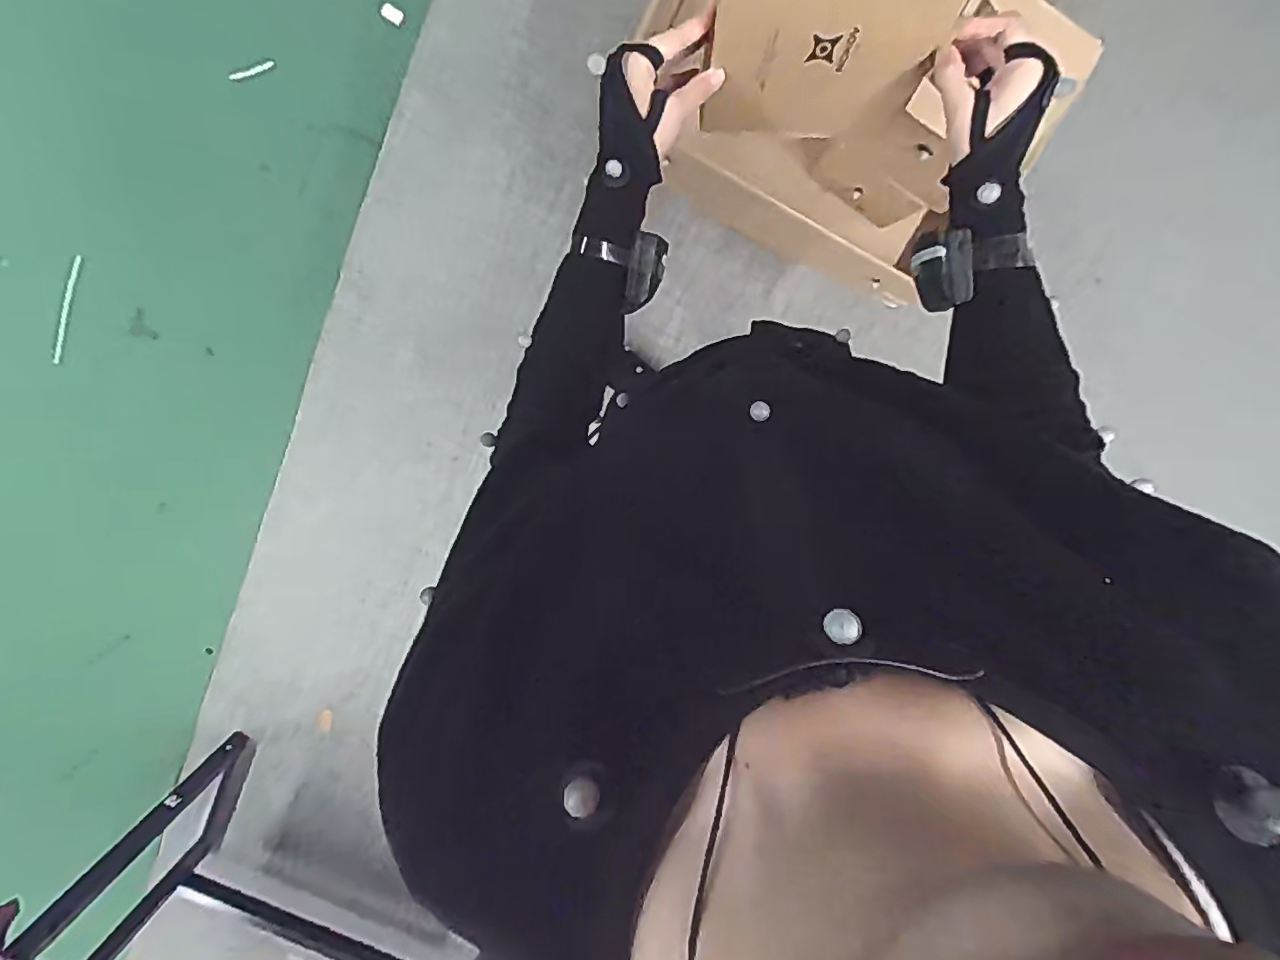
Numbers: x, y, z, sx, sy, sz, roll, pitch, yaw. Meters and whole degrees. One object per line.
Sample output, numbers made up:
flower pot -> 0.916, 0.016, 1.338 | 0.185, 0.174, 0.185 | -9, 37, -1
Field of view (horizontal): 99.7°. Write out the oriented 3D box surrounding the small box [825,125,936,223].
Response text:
small box -> 0.416, -0.537, 0.849 | 0.168, 0.176, 0.179 | 32, 103, -6

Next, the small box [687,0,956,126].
small box -> 0.133, -0.409, 0.411 | 0.179, 0.168, 0.176 | 0, 79, -1

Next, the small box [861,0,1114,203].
small box -> 0.419, -0.488, 0.692 | 0.179, 0.176, 0.168 | 30, 104, -6
